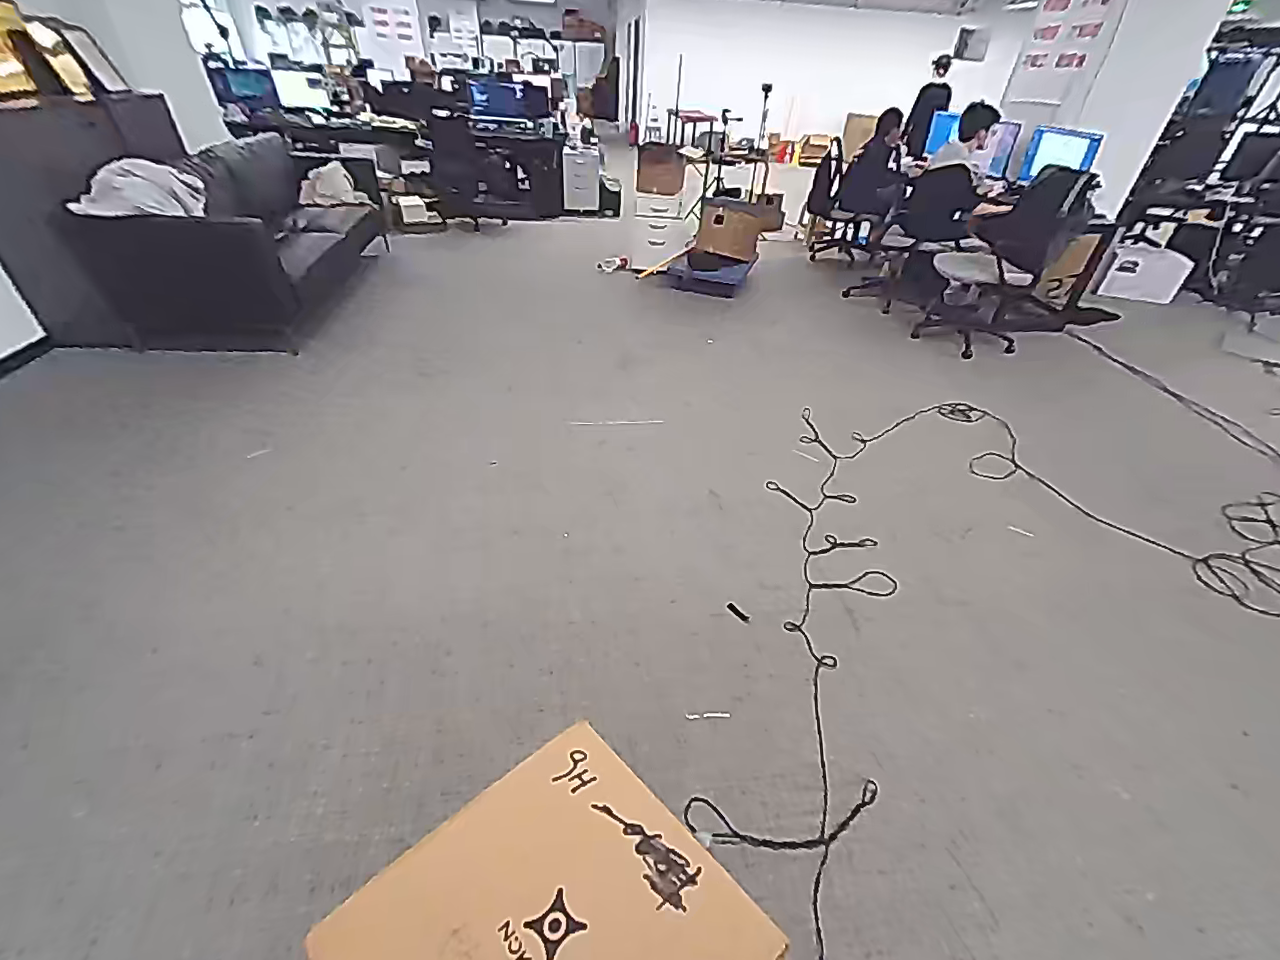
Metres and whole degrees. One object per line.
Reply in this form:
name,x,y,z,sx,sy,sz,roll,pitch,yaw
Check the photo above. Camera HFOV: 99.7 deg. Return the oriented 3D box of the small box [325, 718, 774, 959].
small box,-0.041,0.293,0.315,0.179,0.176,0.168,-29,39,-33
